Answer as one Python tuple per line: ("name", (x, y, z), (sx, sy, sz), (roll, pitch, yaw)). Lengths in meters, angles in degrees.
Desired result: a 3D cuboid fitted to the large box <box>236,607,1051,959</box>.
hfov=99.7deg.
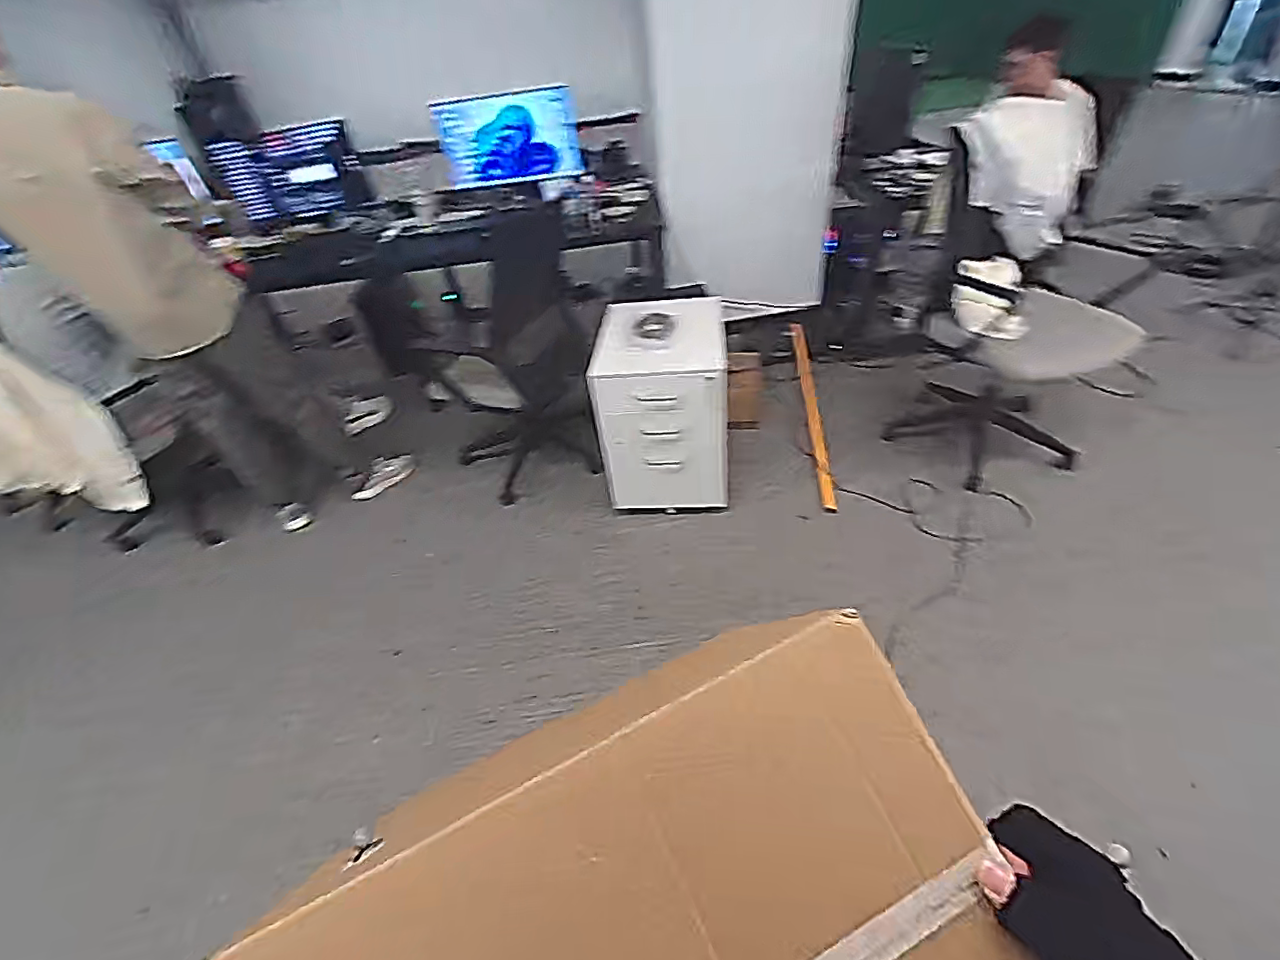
("large box", (0.015, 0.342, 0.423), (0.408, 0.320, 0.320), (-25, 77, -11))
